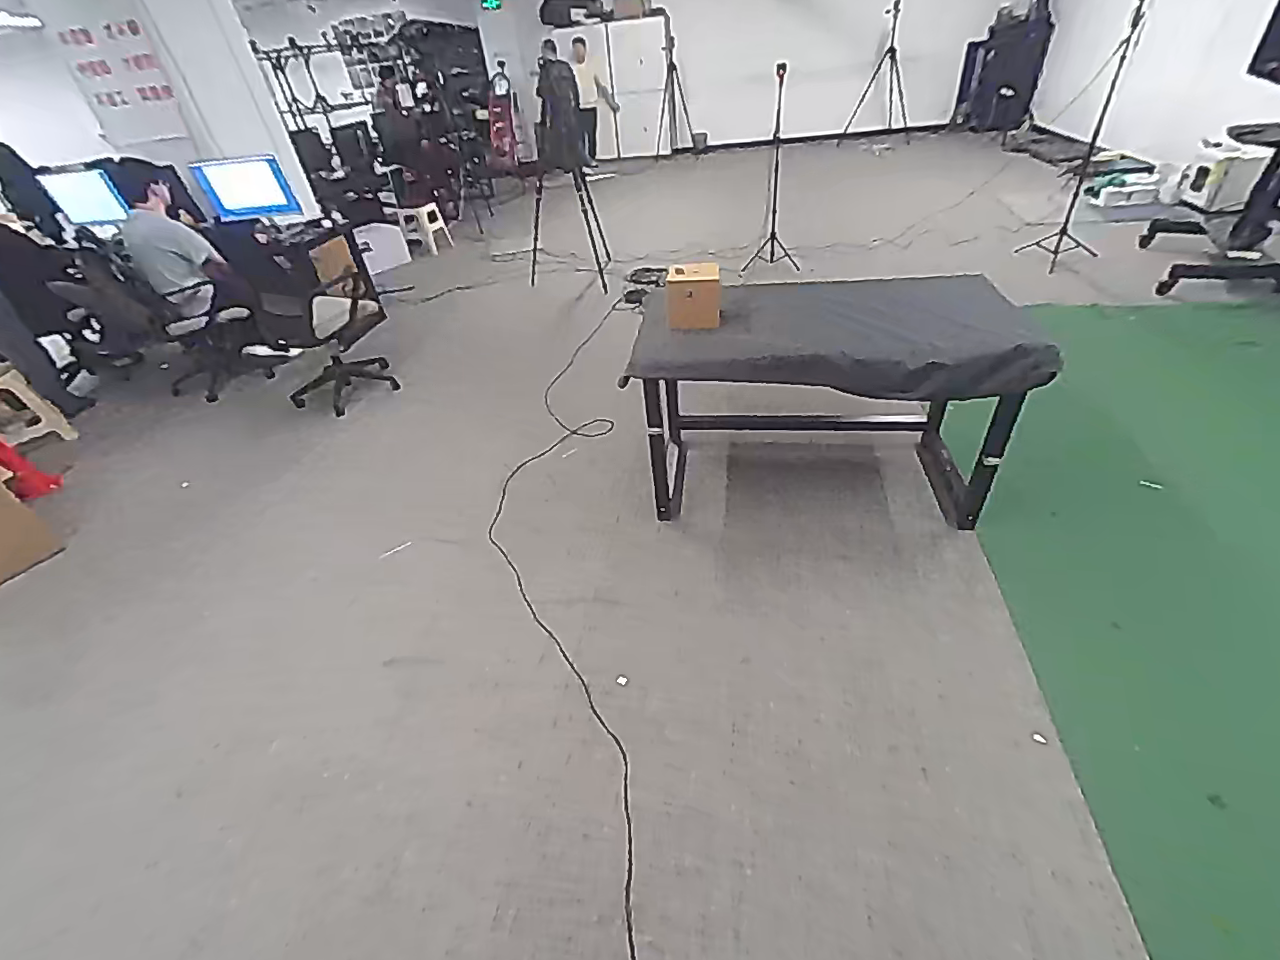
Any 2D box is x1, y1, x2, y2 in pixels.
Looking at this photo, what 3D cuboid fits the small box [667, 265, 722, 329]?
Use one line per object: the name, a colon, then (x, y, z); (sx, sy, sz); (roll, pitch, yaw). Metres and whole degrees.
small box: (0.192, -0.628, 1.861); (0.179, 0.176, 0.168); (1, 39, 8)
